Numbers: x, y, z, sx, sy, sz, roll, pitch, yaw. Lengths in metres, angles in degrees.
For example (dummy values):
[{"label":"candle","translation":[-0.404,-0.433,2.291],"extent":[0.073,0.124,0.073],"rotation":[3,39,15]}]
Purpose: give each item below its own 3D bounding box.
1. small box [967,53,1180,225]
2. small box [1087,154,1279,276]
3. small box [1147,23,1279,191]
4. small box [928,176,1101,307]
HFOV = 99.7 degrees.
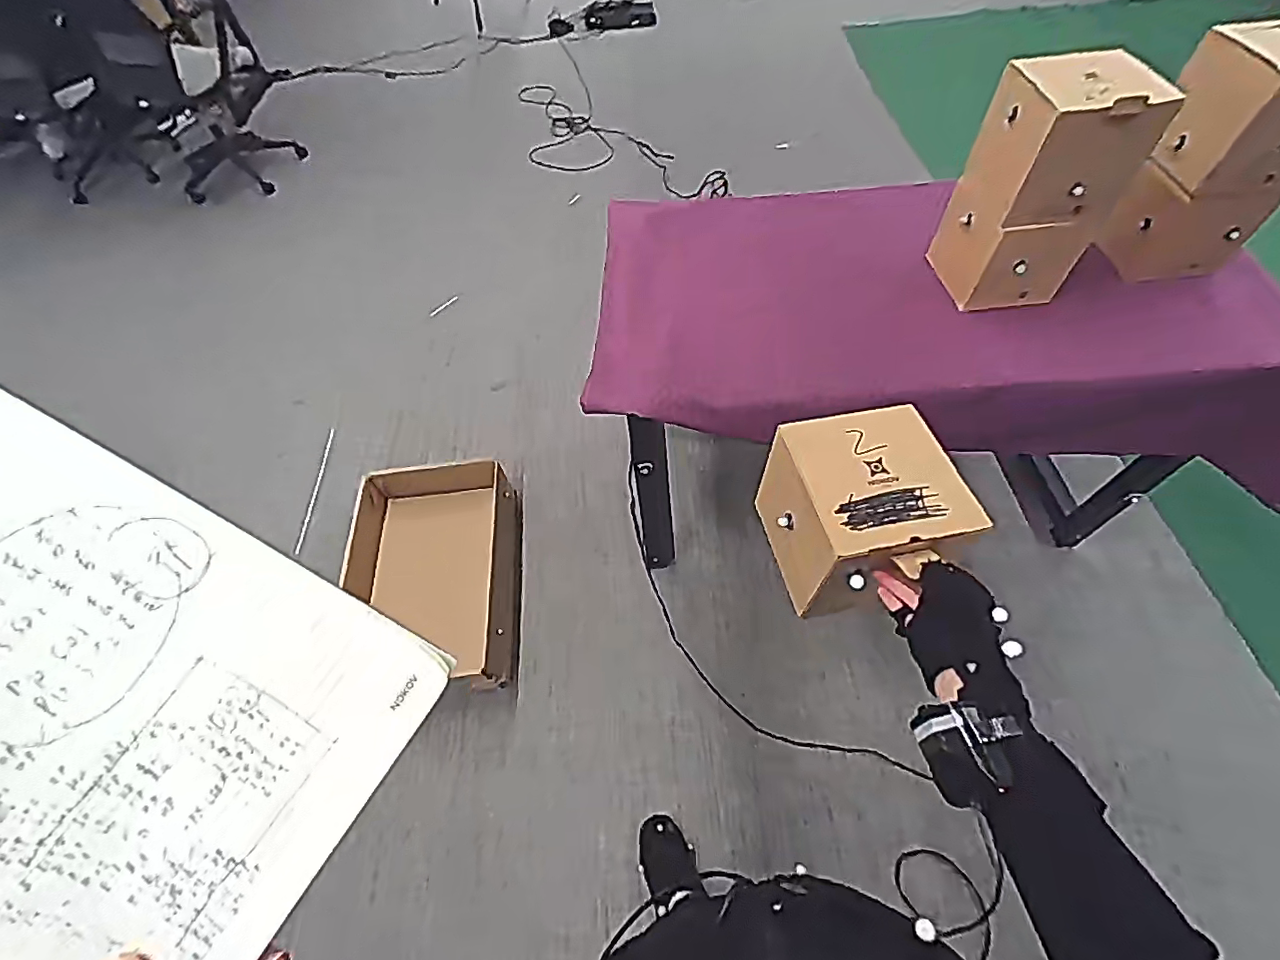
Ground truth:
[{"label":"small box","translation":[0.647,-0.524,0.839],"extent":[0.168,0.176,0.179],"rotation":[-4,57,3]},{"label":"small box","translation":[0.971,-0.489,0.984],"extent":[0.168,0.176,0.179],"rotation":[-3,57,2]},{"label":"small box","translation":[0.954,-0.576,0.846],"extent":[0.168,0.176,0.179],"rotation":[-3,58,2]},{"label":"small box","translation":[0.656,-0.429,0.974],"extent":[0.168,0.176,0.179],"rotation":[-6,57,1]}]
